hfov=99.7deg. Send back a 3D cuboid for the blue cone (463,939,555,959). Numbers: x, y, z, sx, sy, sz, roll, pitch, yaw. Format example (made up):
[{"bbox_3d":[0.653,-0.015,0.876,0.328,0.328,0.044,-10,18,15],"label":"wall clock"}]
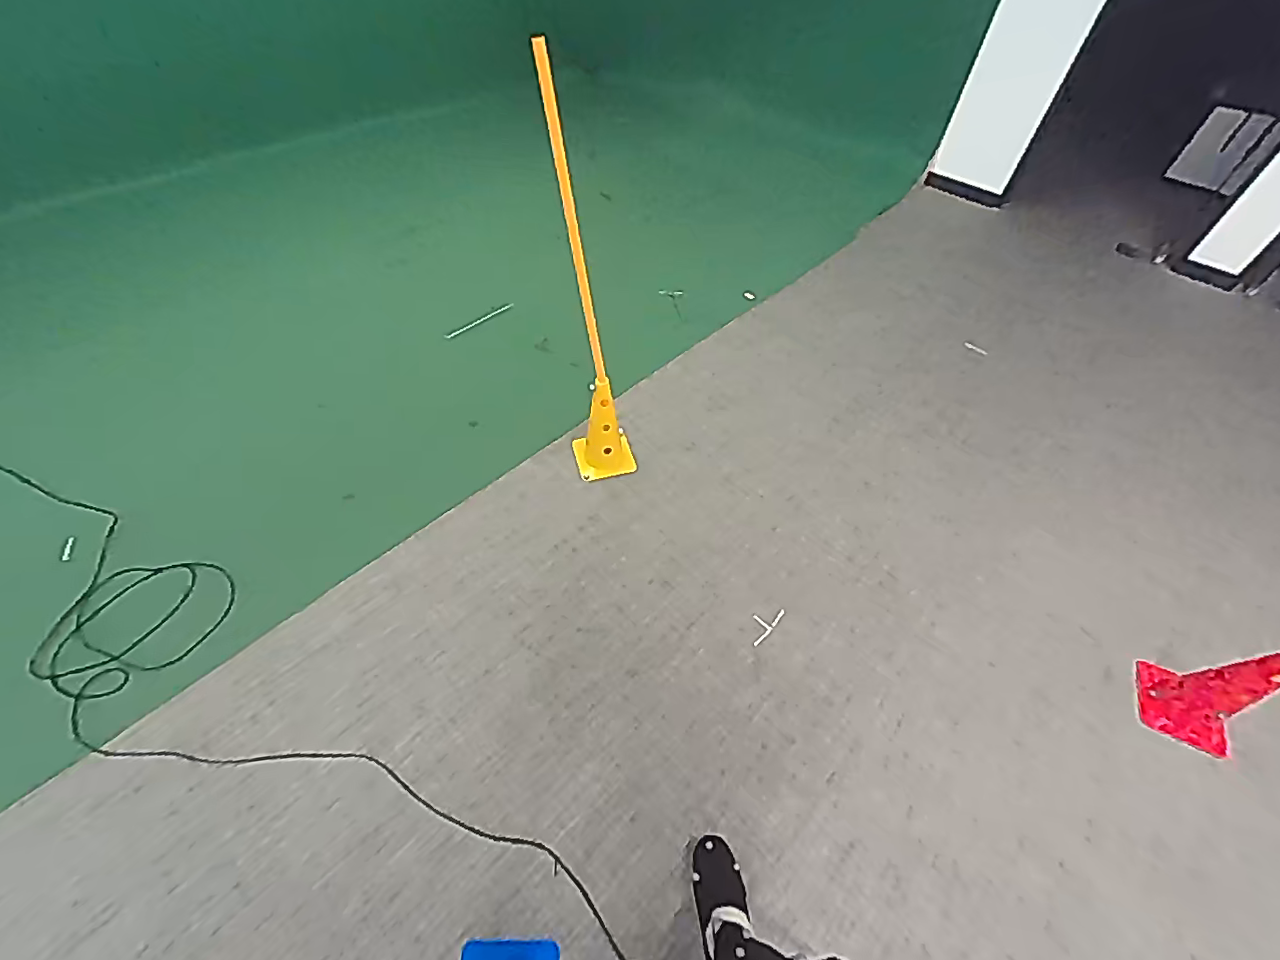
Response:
[{"bbox_3d":[-0.249,0.920,0.914,0.192,0.380,0.193,1,54,-3],"label":"blue cone"}]
